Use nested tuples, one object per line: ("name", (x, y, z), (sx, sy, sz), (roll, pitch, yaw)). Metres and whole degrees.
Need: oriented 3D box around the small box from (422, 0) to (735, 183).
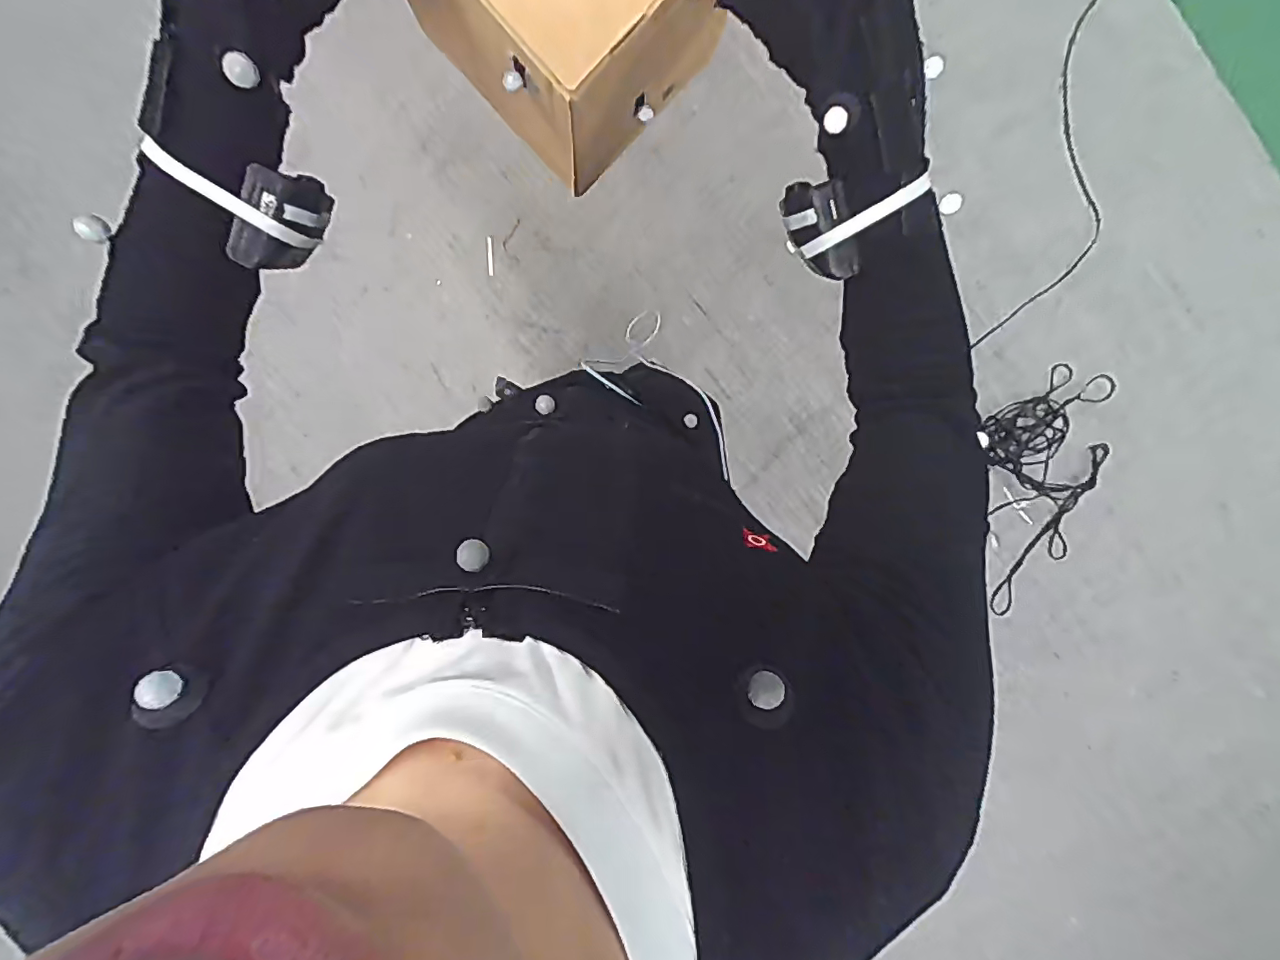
("small box", (-0.046, -0.347, 0.367), (0.168, 0.176, 0.179), (-45, 102, 3))
